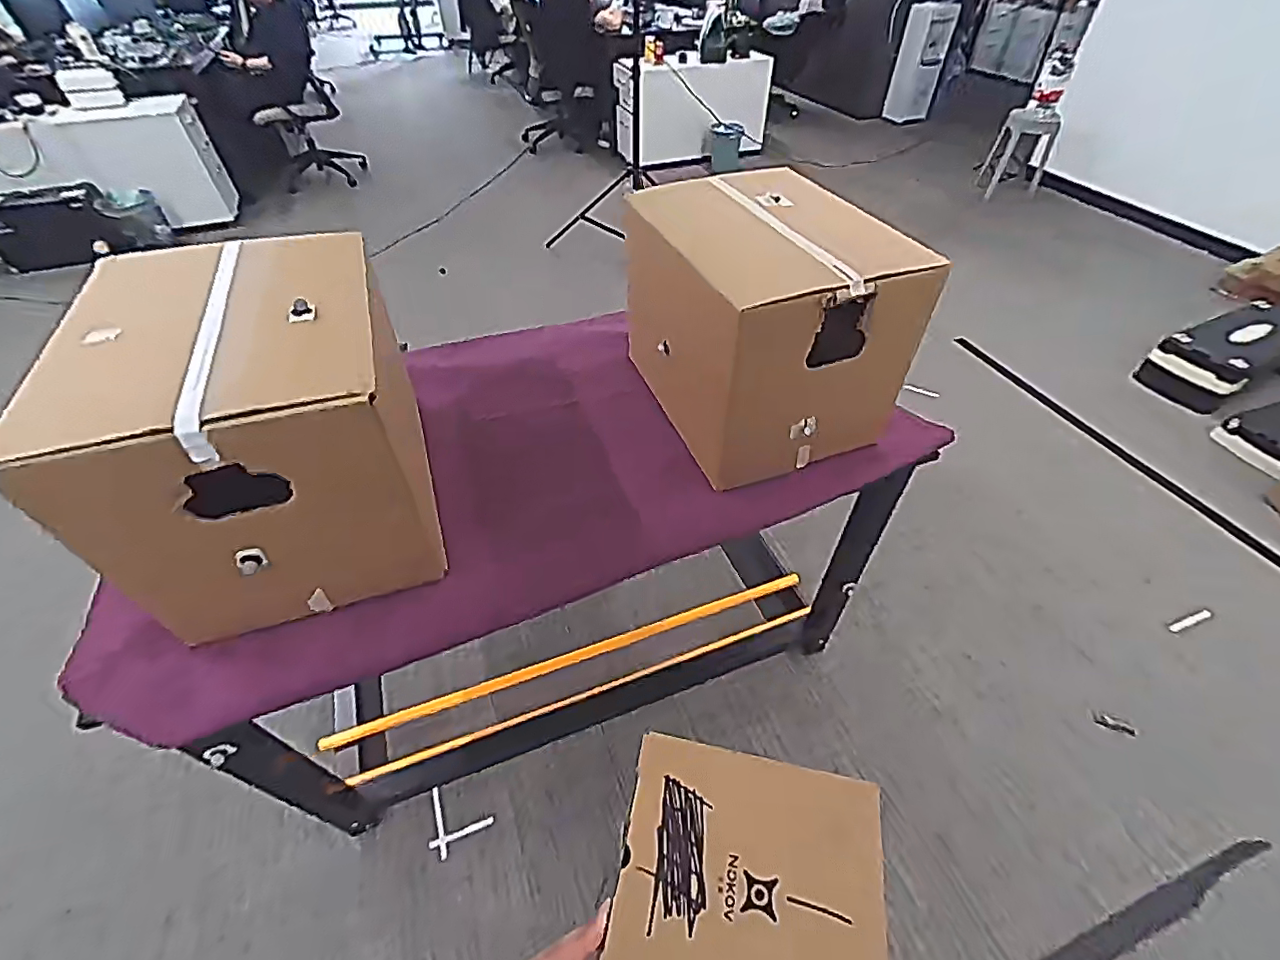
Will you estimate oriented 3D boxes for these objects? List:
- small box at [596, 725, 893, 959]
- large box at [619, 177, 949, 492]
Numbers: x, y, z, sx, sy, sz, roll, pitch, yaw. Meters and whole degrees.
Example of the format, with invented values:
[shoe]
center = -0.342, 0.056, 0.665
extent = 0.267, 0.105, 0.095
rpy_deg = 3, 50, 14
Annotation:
[small box]
center = 0.076, 0.312, 0.411
extent = 0.179, 0.176, 0.168
rpy_deg = 8, 50, 10
[large box]
center = 0.185, -0.250, 0.881
extent = 0.320, 0.320, 0.408
rpy_deg = -16, 47, -15
